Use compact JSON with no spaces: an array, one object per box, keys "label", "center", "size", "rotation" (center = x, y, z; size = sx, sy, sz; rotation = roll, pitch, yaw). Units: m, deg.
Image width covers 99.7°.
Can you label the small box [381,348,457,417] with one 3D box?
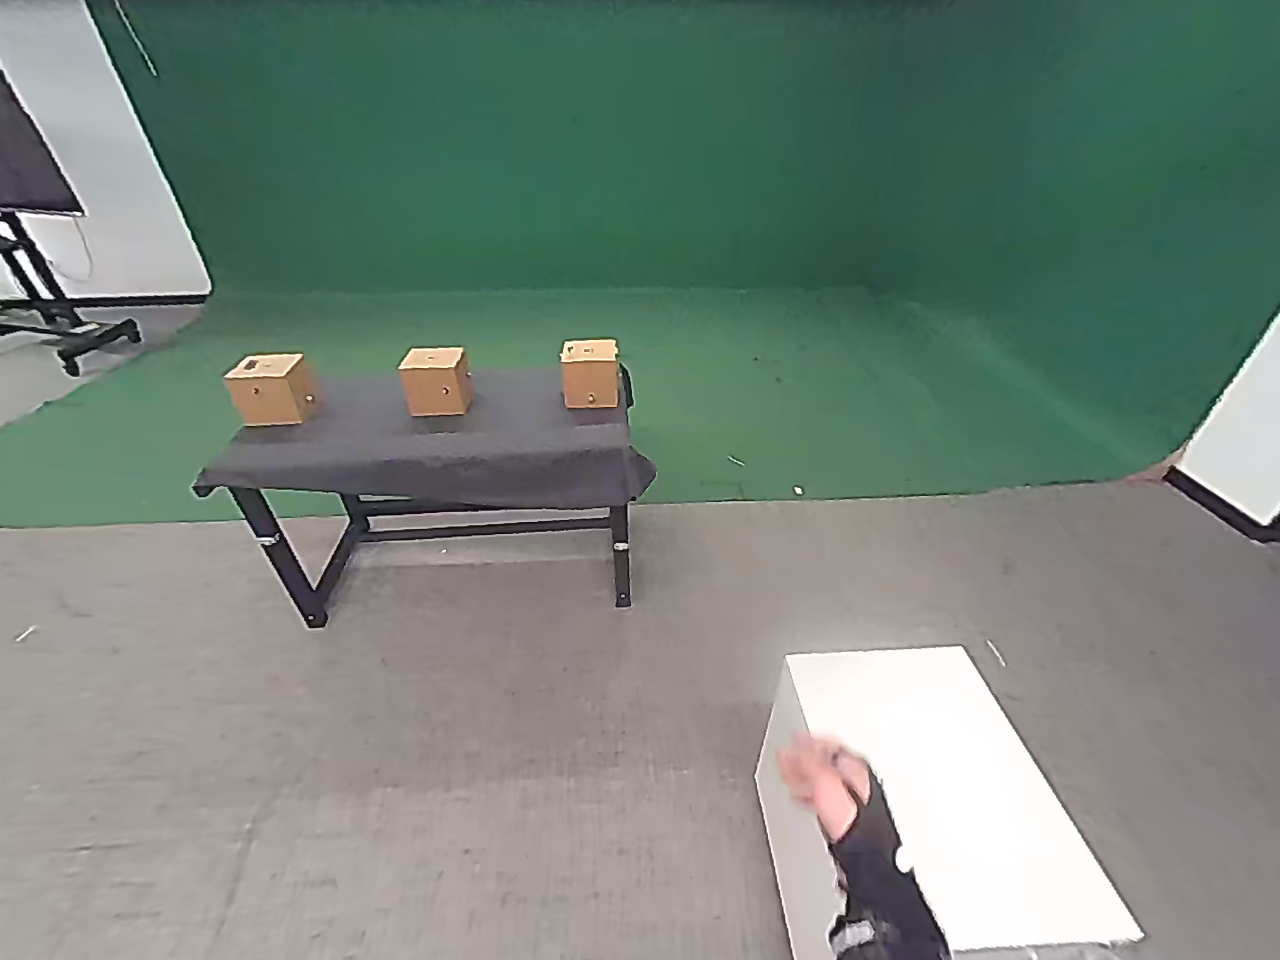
[{"label":"small box","center":[-0.700,-0.312,1.739],"size":[0.179,0.176,0.168],"rotation":[-3,34,-5]}]

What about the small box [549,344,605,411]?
[{"label":"small box","center":[-0.204,-0.338,1.795],"size":[0.179,0.176,0.168],"rotation":[0,36,-4]}]

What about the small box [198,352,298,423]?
[{"label":"small box","center":[-1.198,-0.283,1.667],"size":[0.179,0.176,0.168],"rotation":[-2,36,-8]}]
